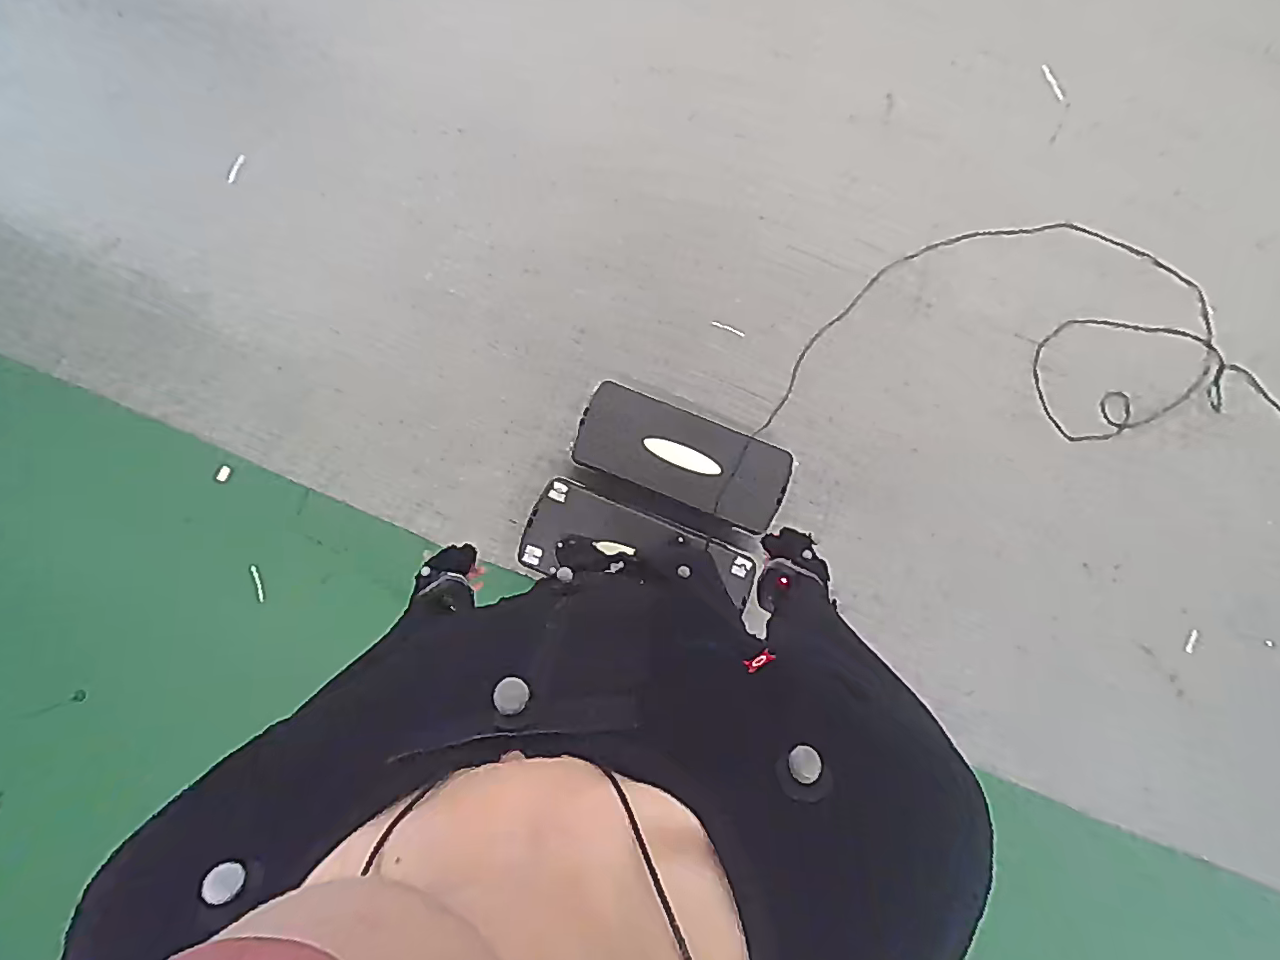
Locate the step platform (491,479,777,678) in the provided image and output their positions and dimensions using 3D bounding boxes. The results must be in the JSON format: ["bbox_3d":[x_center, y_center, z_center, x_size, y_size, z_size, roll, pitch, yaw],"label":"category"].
[{"bbox_3d":[-0.014,0.241,1.396,0.684,0.204,0.286,22,85,1],"label":"step platform"}]
